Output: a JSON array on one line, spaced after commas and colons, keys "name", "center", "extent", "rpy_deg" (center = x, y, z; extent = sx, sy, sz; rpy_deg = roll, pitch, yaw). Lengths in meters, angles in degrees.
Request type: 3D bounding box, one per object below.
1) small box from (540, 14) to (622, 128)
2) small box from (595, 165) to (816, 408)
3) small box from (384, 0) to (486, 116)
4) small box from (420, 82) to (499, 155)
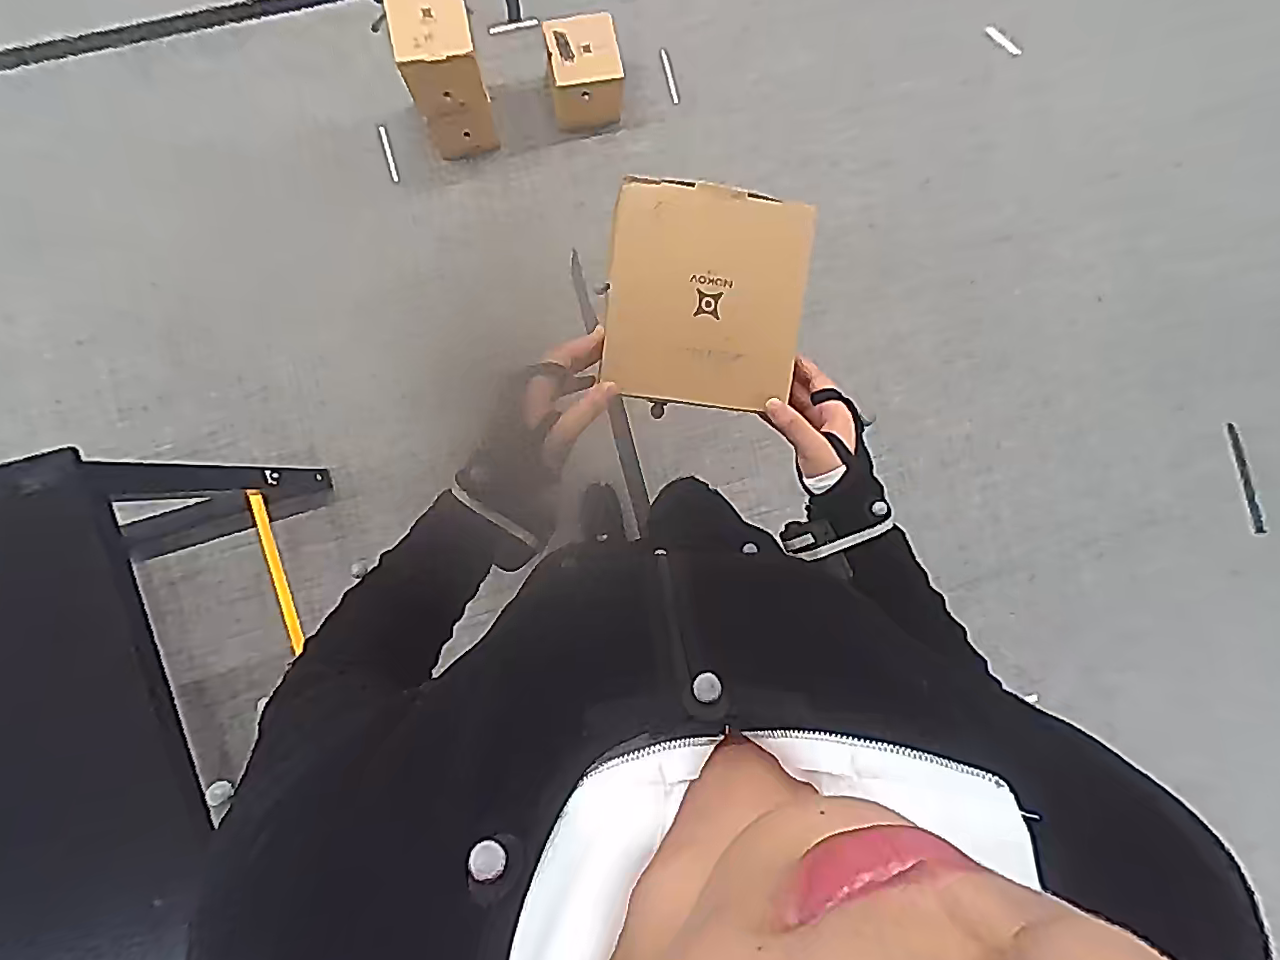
[{"name": "small box", "center": [-0.151, -1.057, 1.412], "extent": [0.179, 0.176, 0.168], "rpy_deg": [-13, 92, -6]}, {"name": "small box", "center": [0.047, -0.168, 0.527], "extent": [0.168, 0.176, 0.179], "rpy_deg": [6, 99, -7]}, {"name": "small box", "center": [-0.456, -0.967, 1.216], "extent": [0.168, 0.176, 0.179], "rpy_deg": [-11, 91, -5]}, {"name": "small box", "center": [-0.471, -0.964, 1.381], "extent": [0.168, 0.176, 0.179], "rpy_deg": [-17, 92, -5]}]
